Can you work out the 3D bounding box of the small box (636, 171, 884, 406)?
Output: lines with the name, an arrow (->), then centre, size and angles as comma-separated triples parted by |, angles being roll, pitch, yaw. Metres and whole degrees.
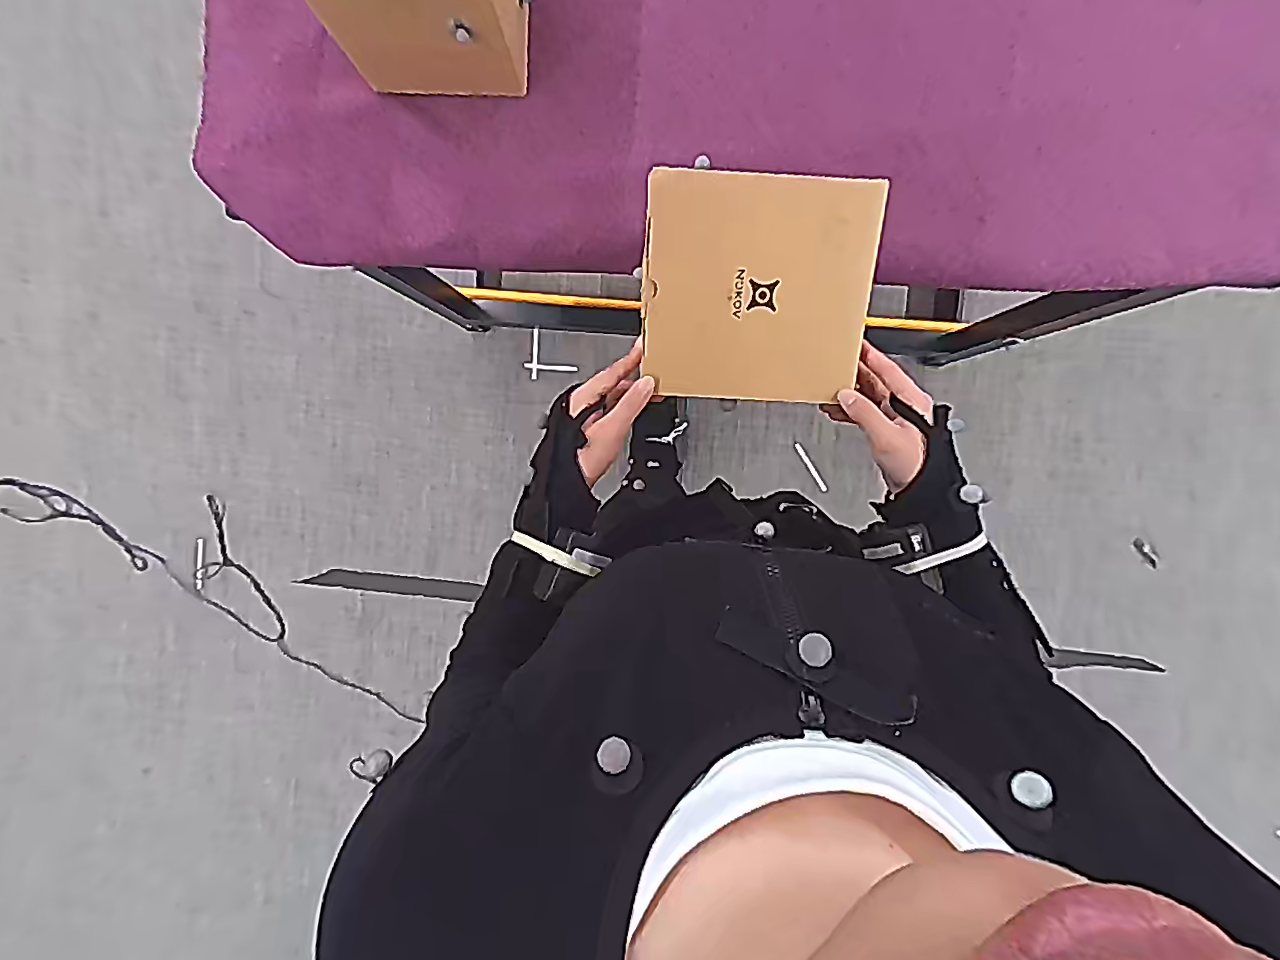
small box -> 0.088, -0.168, 0.492 | 0.179, 0.176, 0.168 | 3, 108, 0
